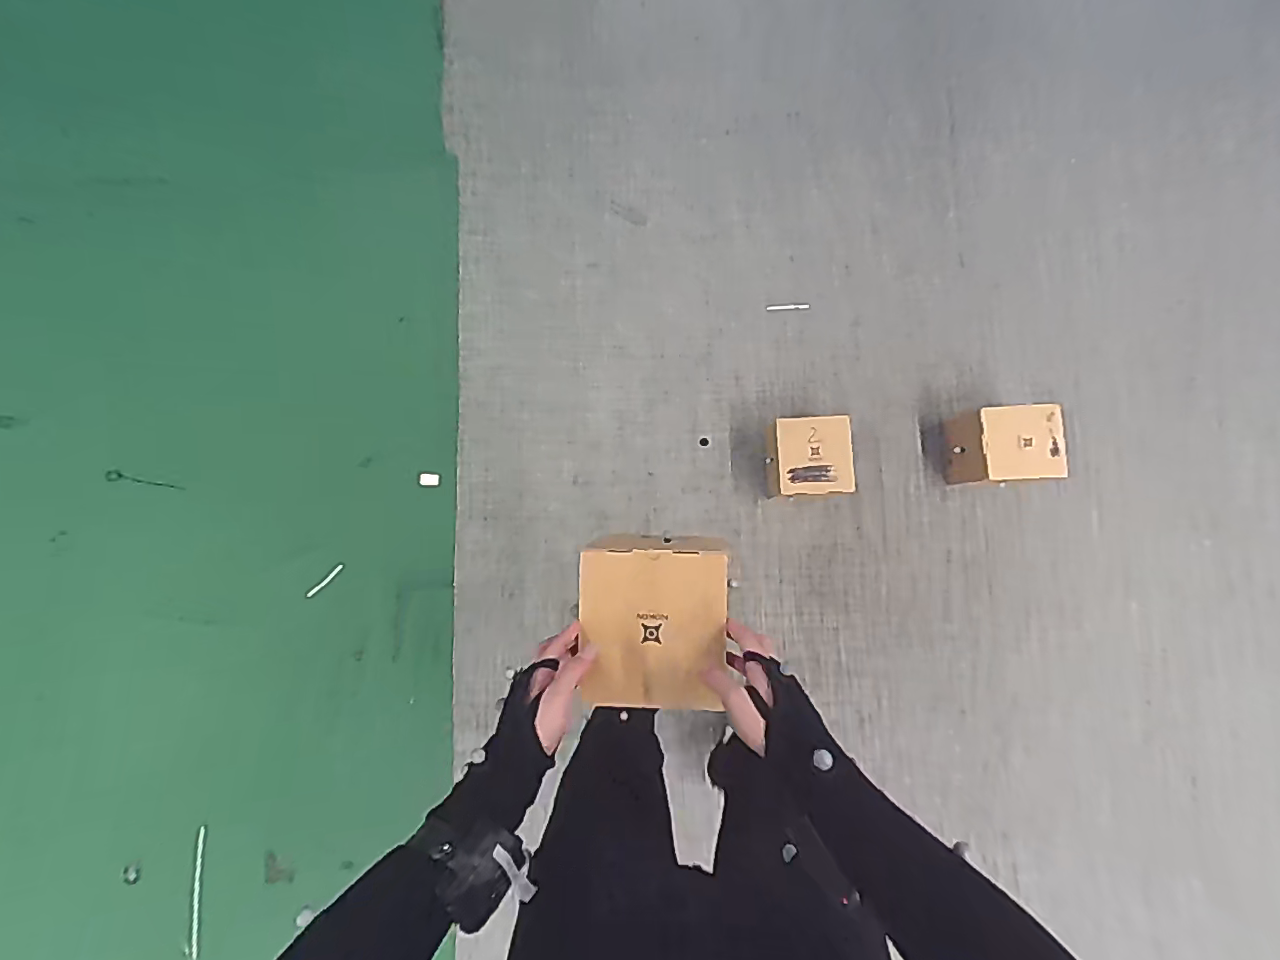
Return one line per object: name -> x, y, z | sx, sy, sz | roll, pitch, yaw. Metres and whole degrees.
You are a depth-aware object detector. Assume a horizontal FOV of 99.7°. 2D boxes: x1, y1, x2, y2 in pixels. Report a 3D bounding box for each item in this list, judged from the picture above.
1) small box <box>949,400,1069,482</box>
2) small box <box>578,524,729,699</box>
small box -> 0.844, -0.085, 1.259 | 0.179, 0.176, 0.168 | -2, 85, 3
small box -> 0.021, 0.150, 0.670 | 0.168, 0.176, 0.179 | 1, 89, 4
